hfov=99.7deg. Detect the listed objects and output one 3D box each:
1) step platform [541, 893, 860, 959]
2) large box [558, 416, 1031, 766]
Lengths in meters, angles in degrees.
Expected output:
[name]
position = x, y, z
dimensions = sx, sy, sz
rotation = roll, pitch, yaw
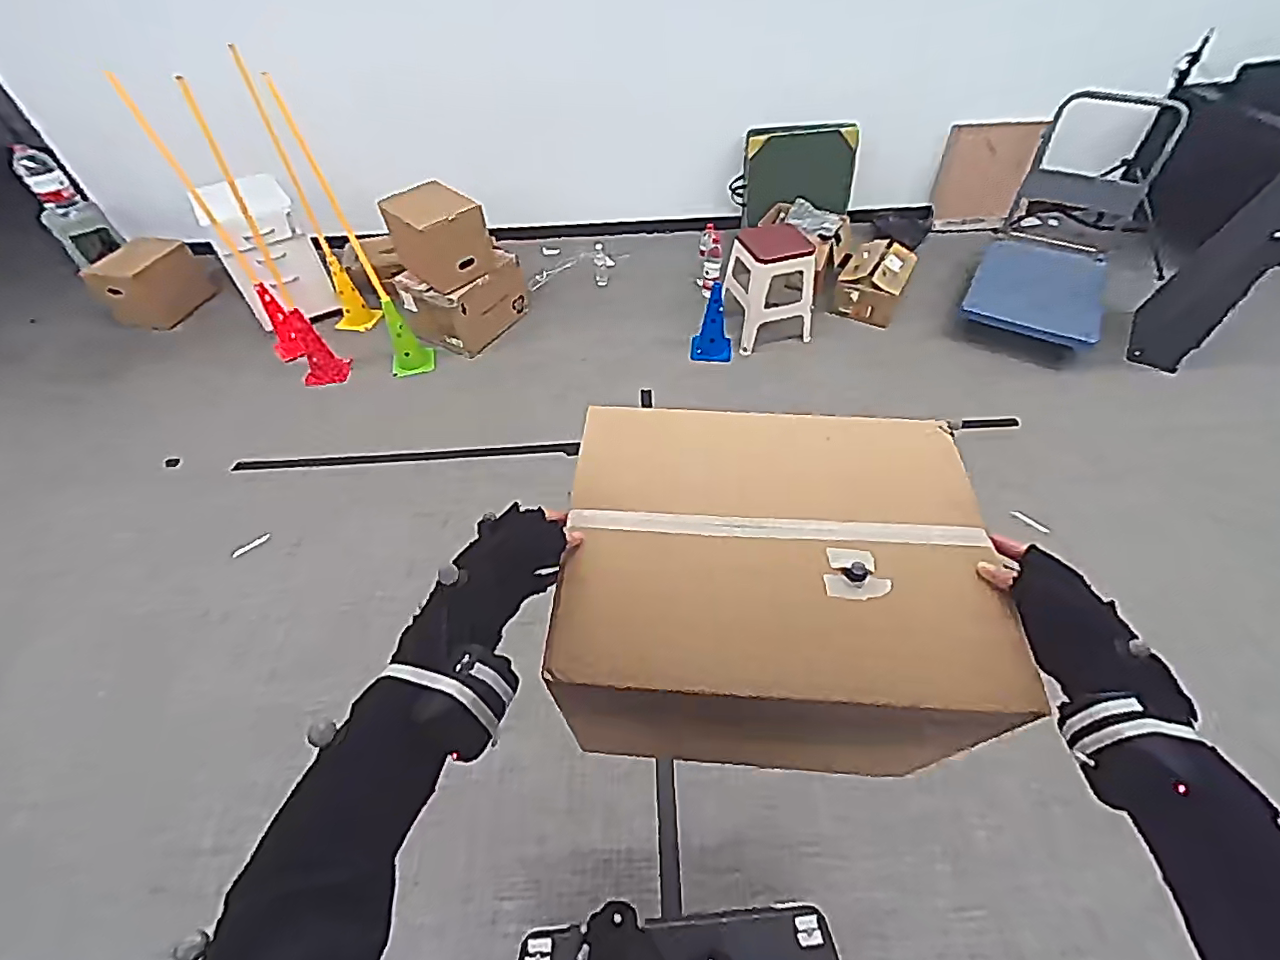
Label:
[step platform]
position = 0.126, 1.082, 1.140
dimensions = 0.684, 0.204, 0.286
rotation = -5, 50, -3
[large box]
position = 0.133, 0.143, 0.657
dimensions = 0.408, 0.320, 0.320
rotation = 3, 54, 2
